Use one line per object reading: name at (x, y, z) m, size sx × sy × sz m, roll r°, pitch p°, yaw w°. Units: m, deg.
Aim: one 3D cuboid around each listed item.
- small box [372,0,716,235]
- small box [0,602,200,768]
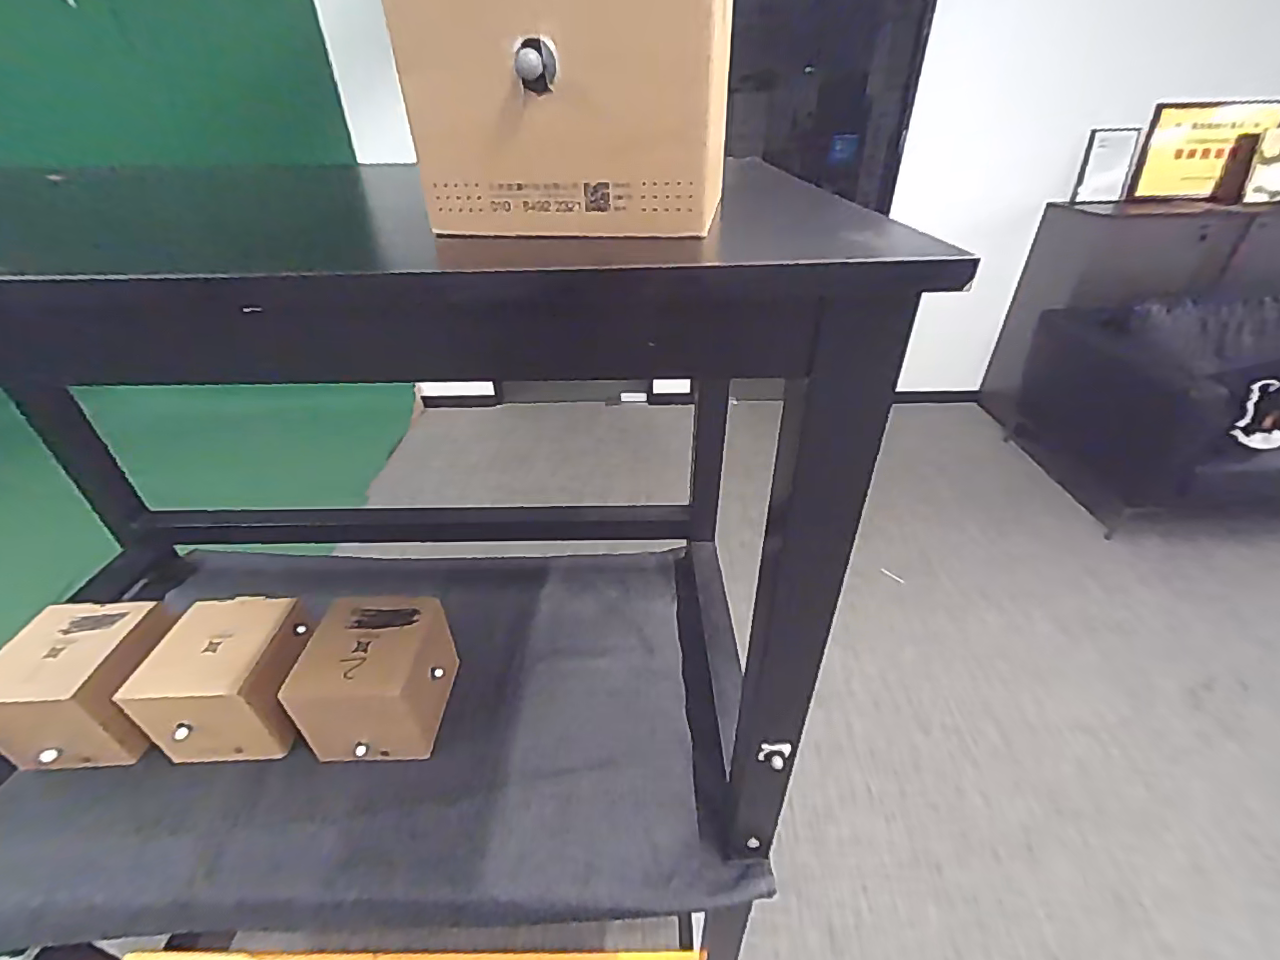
small box at (-0.040, -0.256, 0.337) m, size 0.168 × 0.176 × 0.179 m, roll 5°, pitch 34°, yaw 9°
small box at (-0.831, 0.312, 0.831) m, size 0.168 × 0.176 × 0.179 m, roll -2°, pitch 35°, yaw -2°
